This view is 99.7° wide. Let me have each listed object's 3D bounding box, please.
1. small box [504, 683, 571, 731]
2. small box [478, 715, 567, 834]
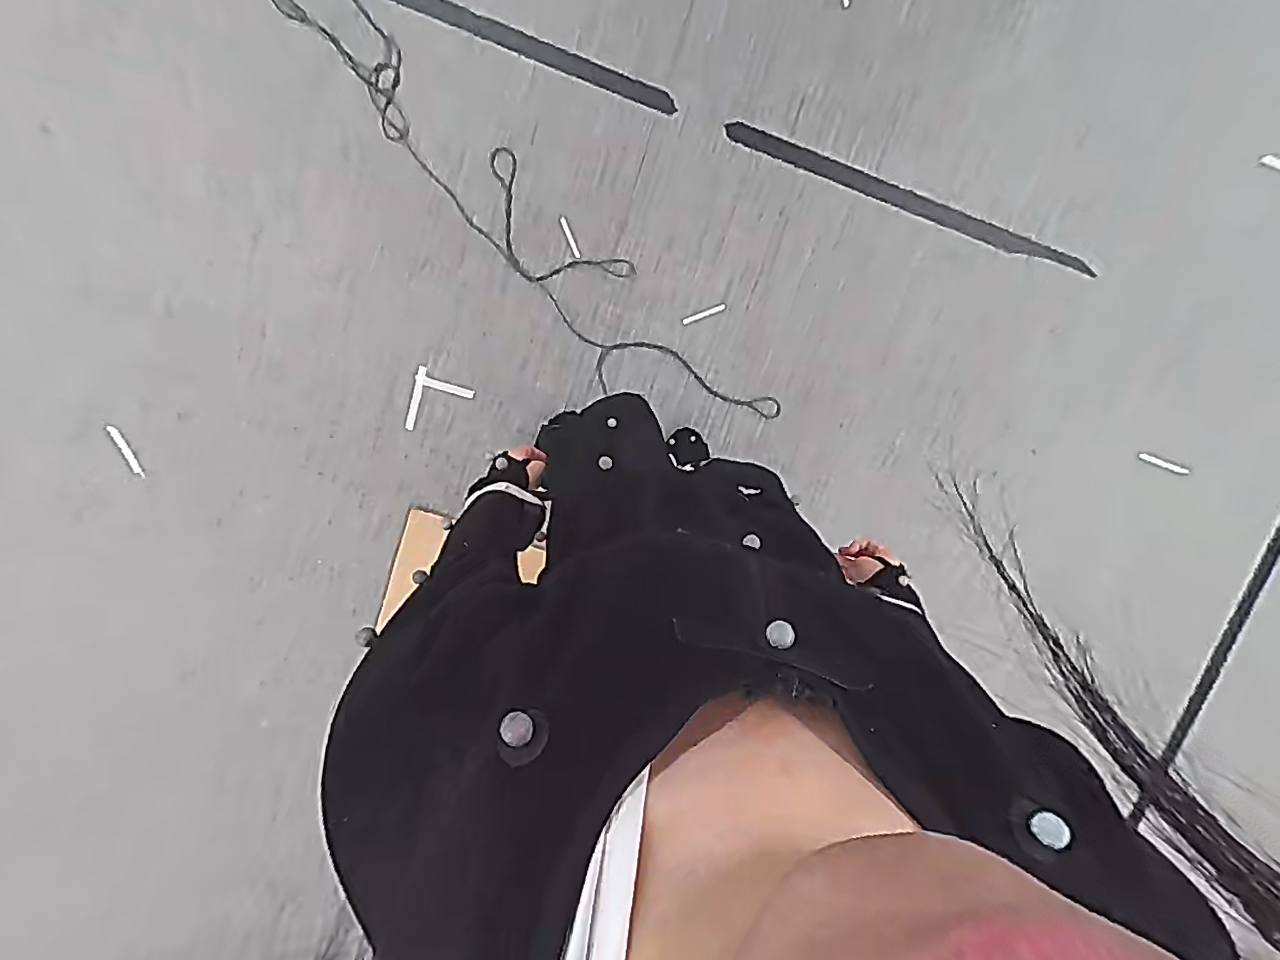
[{"bbox_3d":[-0.289,0.686,1.487,0.168,0.176,0.179,12,98,-3],"label":"small box"},{"bbox_3d":[-0.281,0.714,1.325,0.168,0.176,0.179,13,98,-5],"label":"small box"}]
